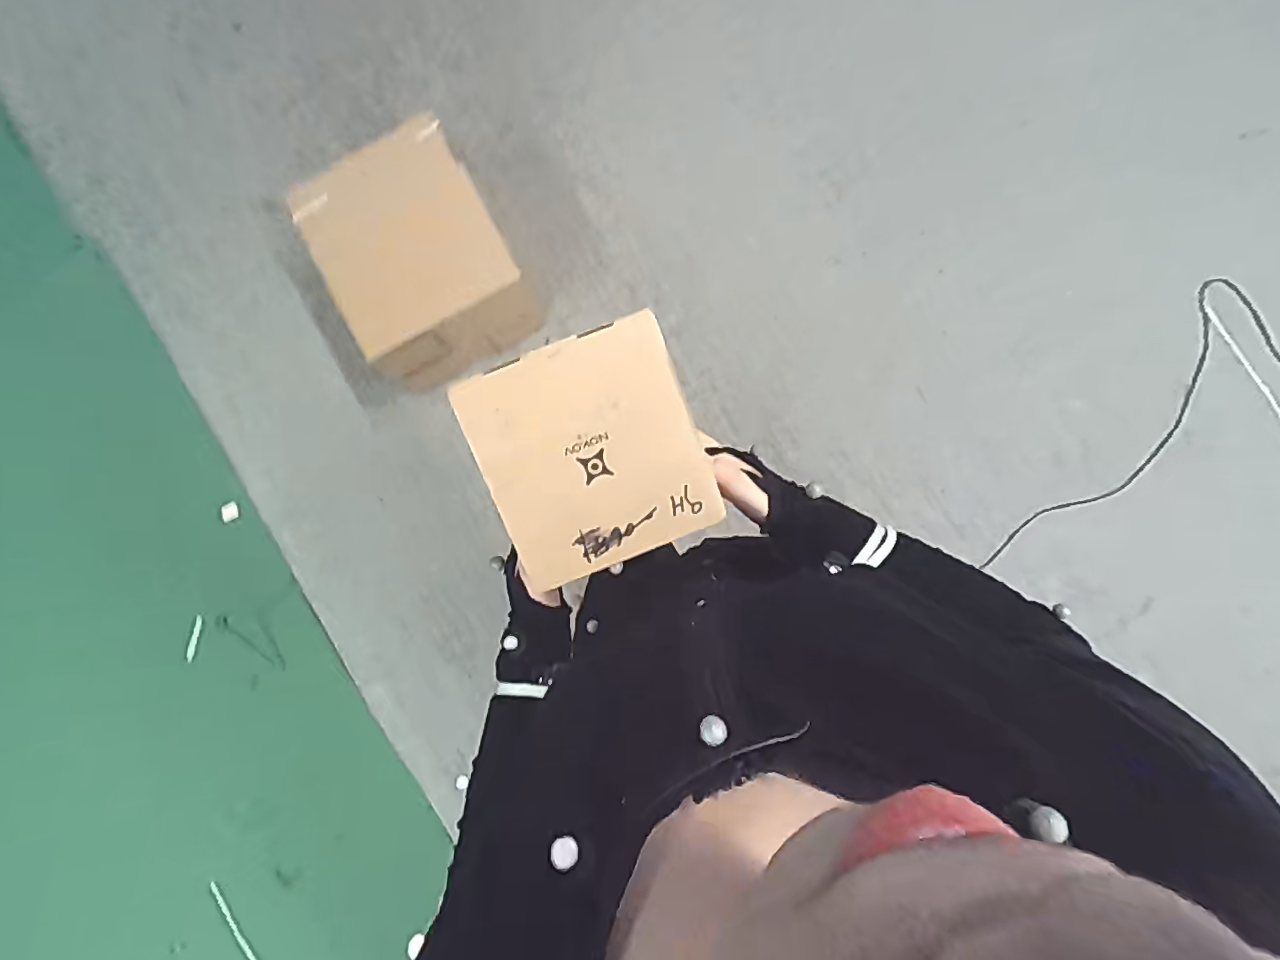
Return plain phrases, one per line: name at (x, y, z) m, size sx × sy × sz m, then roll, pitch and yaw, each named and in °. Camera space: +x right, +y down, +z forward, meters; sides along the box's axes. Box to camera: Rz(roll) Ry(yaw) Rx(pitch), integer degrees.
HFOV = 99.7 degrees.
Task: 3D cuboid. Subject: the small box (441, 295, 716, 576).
small box at (-0.051, -0.041, 0.489) m, size 0.168 × 0.176 × 0.179 m, roll -21°, pitch 99°, yaw -1°
